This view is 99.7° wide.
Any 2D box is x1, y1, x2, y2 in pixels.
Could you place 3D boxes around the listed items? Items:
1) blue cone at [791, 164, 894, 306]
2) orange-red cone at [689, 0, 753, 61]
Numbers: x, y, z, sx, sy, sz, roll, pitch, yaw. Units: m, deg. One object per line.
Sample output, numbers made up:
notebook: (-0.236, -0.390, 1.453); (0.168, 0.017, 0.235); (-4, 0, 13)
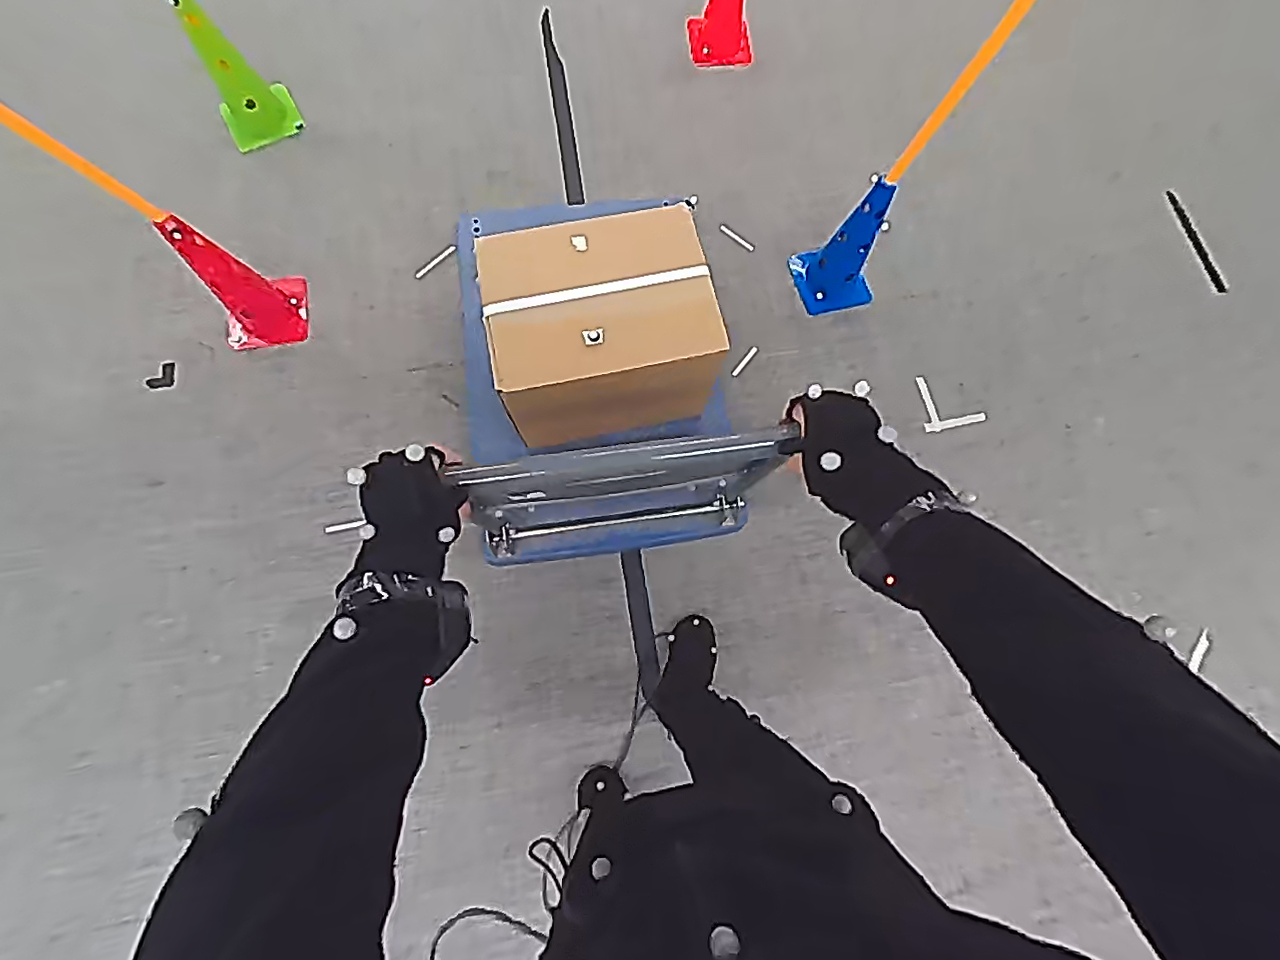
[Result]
blue cone: (0.548, -0.632, 1.383); (0.193, 0.380, 0.192); (-13, 75, -6)
orange-red cone: (0.270, -1.476, 1.582); (0.199, 0.360, 0.198); (-2, 76, -4)
